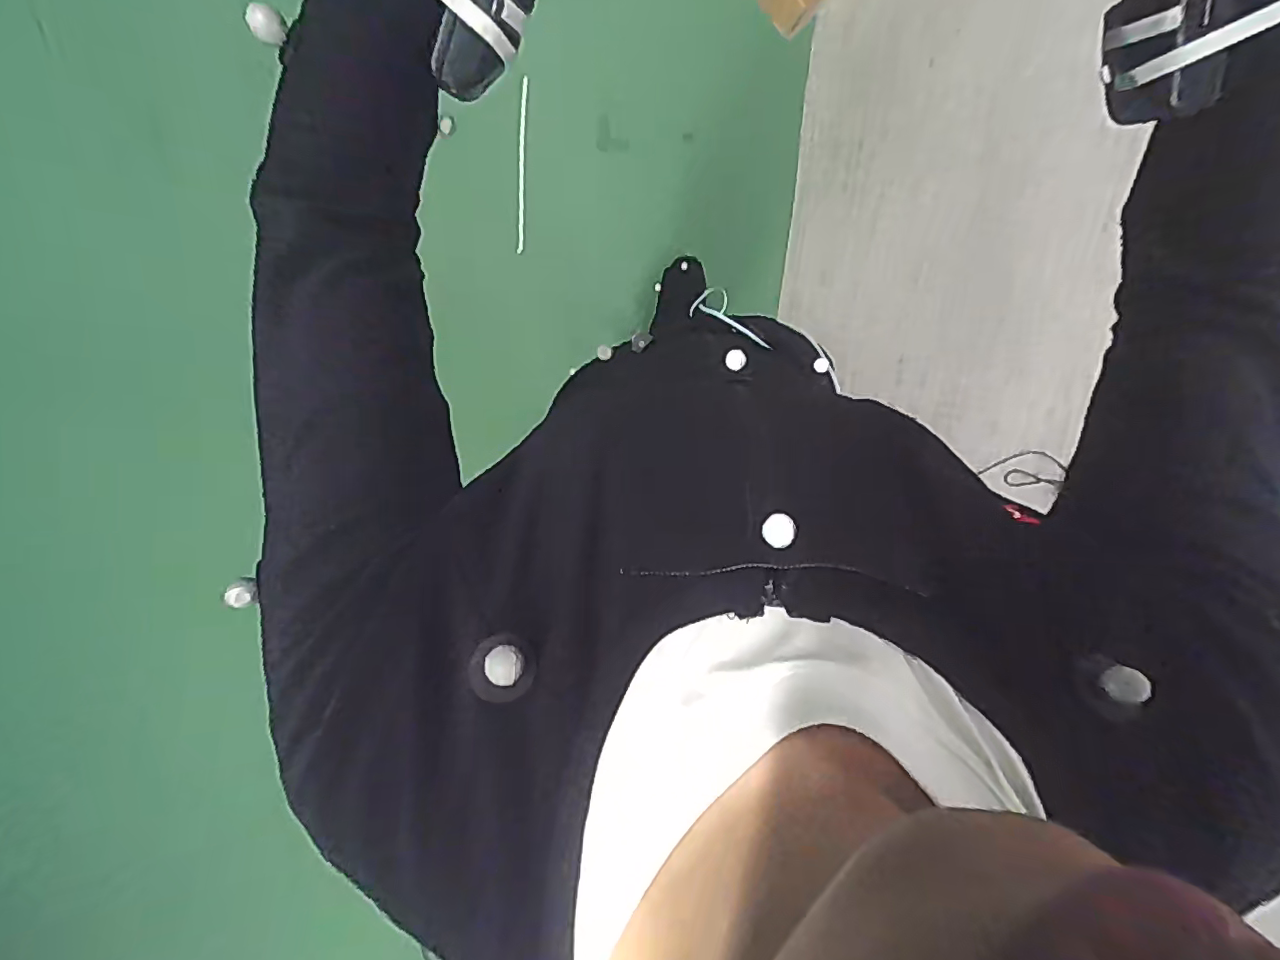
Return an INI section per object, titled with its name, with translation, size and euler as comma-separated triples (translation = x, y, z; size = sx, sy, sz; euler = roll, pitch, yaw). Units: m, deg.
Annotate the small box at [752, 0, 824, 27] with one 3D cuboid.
[small box]
translation = 0.107, -0.406, 0.283
size = 0.168, 0.176, 0.179
euler = -43, 106, 11
